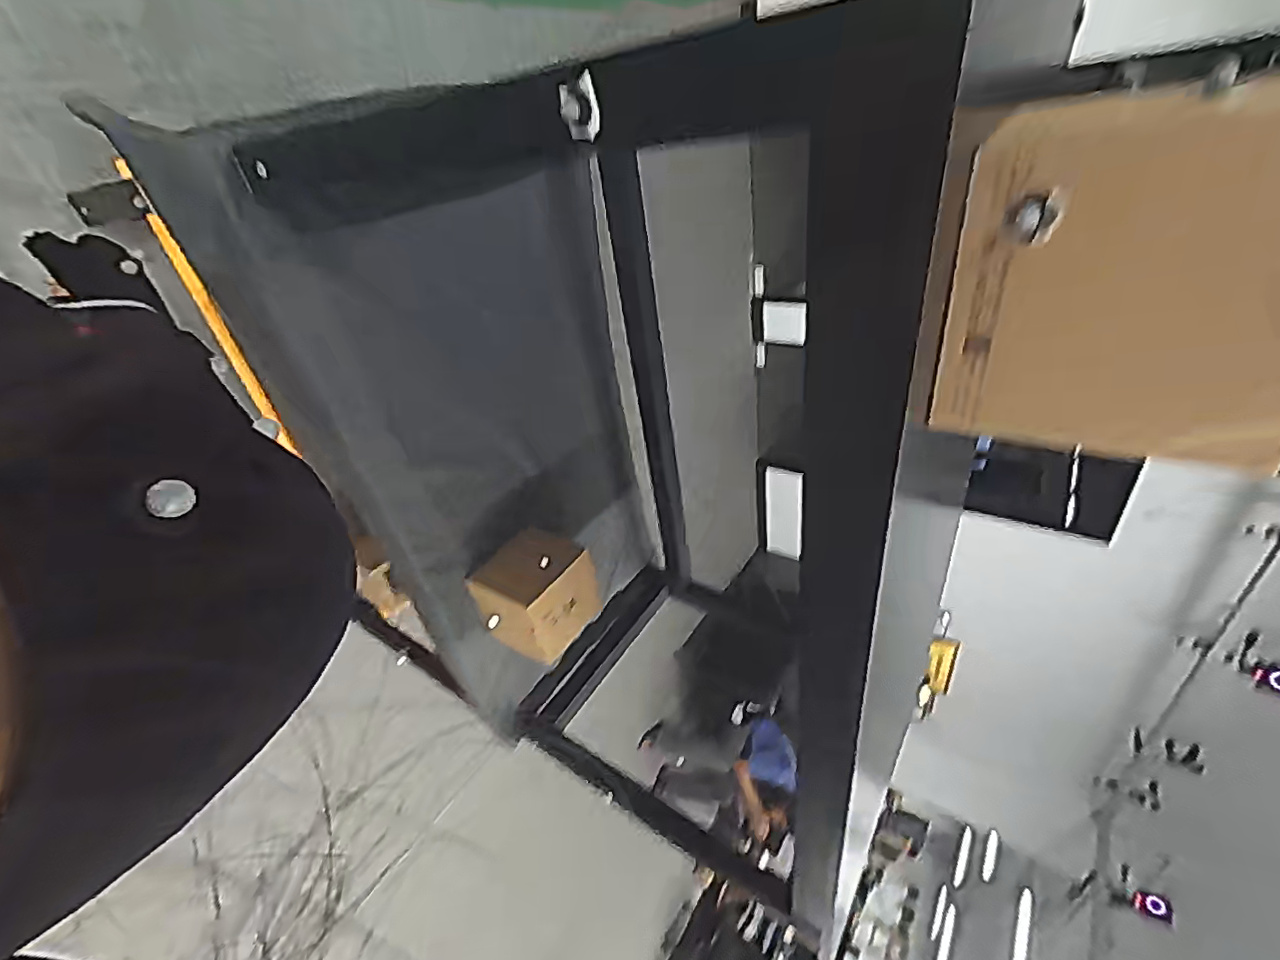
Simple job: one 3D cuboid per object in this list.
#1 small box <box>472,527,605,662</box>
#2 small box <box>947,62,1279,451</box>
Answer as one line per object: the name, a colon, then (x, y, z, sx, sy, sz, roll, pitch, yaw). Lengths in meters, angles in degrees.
small box: (-0.197, 0.218, 1.074, 0.179, 0.176, 0.168, -44, 135, -39)
small box: (0.304, -0.140, 0.330, 0.179, 0.176, 0.168, -45, 137, -39)
